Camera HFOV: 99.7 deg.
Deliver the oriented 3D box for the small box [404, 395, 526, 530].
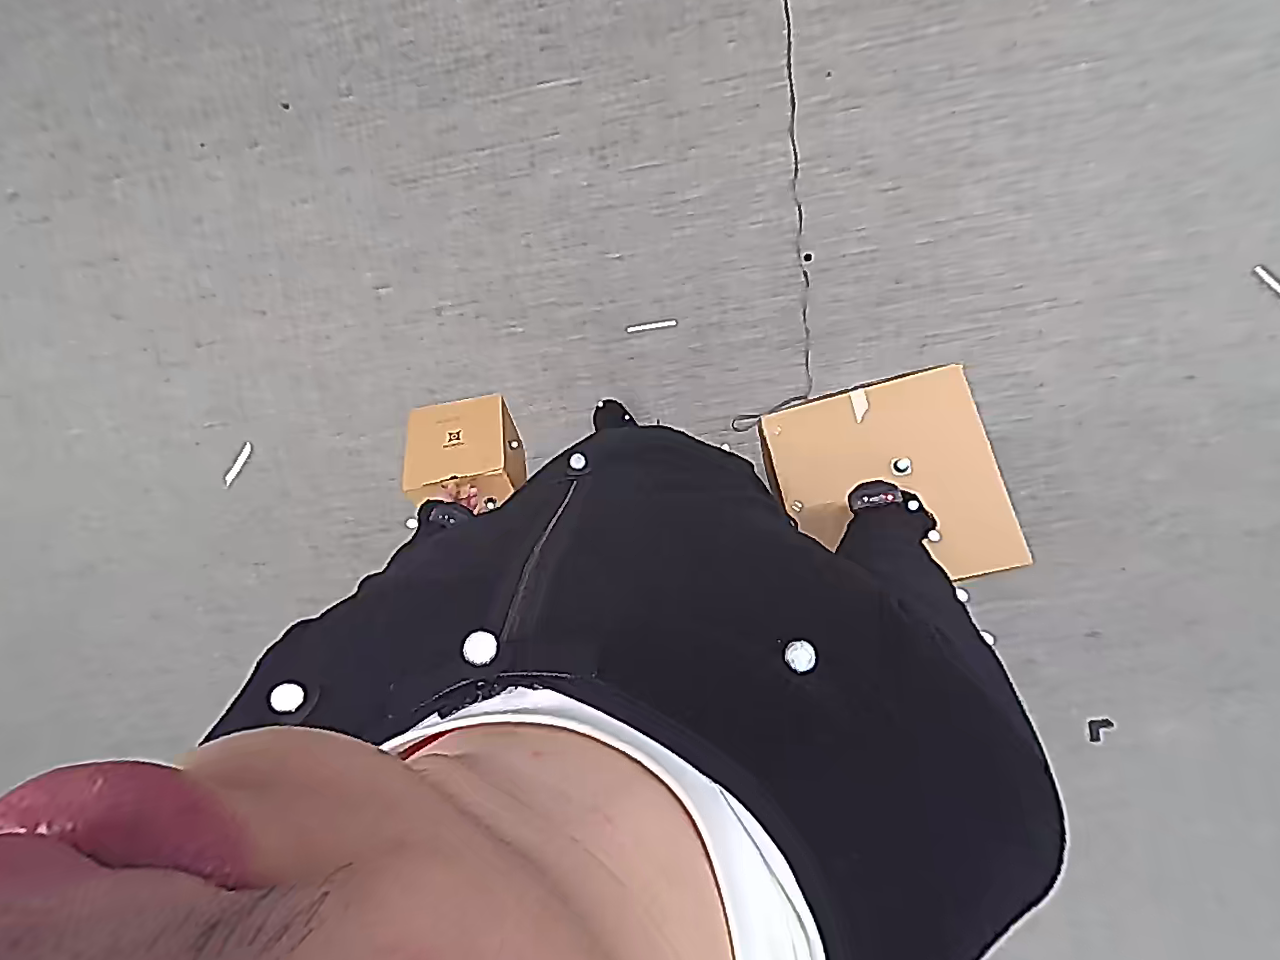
[{"bbox_3d":[-0.309,-0.024,0.982,0.168,0.176,0.179,-11,55,-3],"label":"small box"}]
